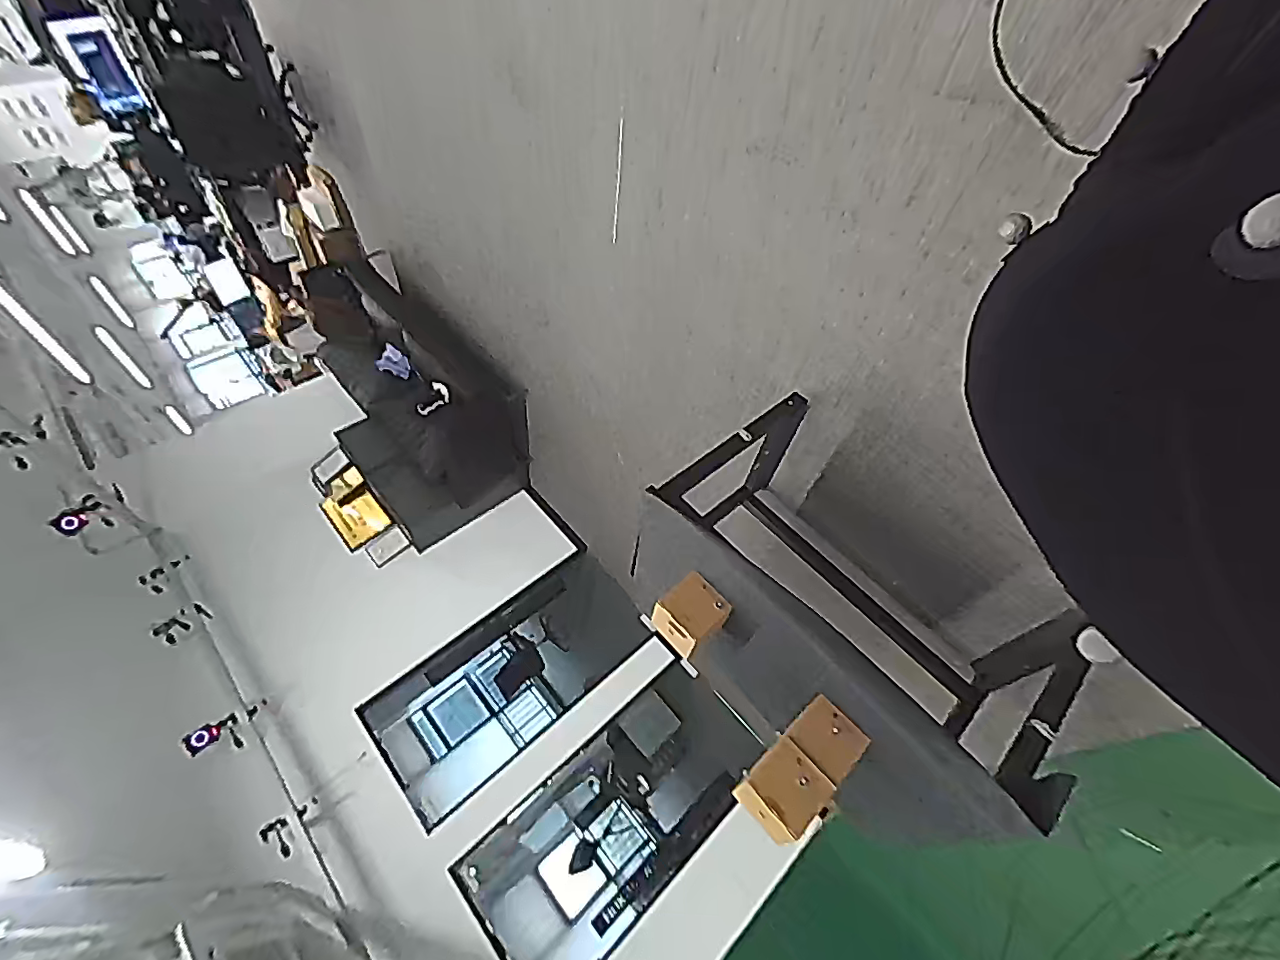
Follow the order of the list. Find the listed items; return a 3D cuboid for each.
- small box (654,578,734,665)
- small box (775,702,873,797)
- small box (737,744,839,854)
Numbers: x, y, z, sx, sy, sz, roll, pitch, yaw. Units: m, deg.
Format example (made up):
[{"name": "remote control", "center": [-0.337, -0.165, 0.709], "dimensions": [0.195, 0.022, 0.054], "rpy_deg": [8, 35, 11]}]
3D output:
[{"name": "small box", "center": [0.167, 0.433, 1.672], "dimensions": [0.168, 0.176, 0.179], "rpy_deg": [44, 151, 23]}, {"name": "small box", "center": [0.499, 0.743, 1.471], "dimensions": [0.168, 0.176, 0.179], "rpy_deg": [41, 149, 26]}, {"name": "small box", "center": [0.379, 0.818, 1.390], "dimensions": [0.168, 0.176, 0.179], "rpy_deg": [42, 150, 26]}]
